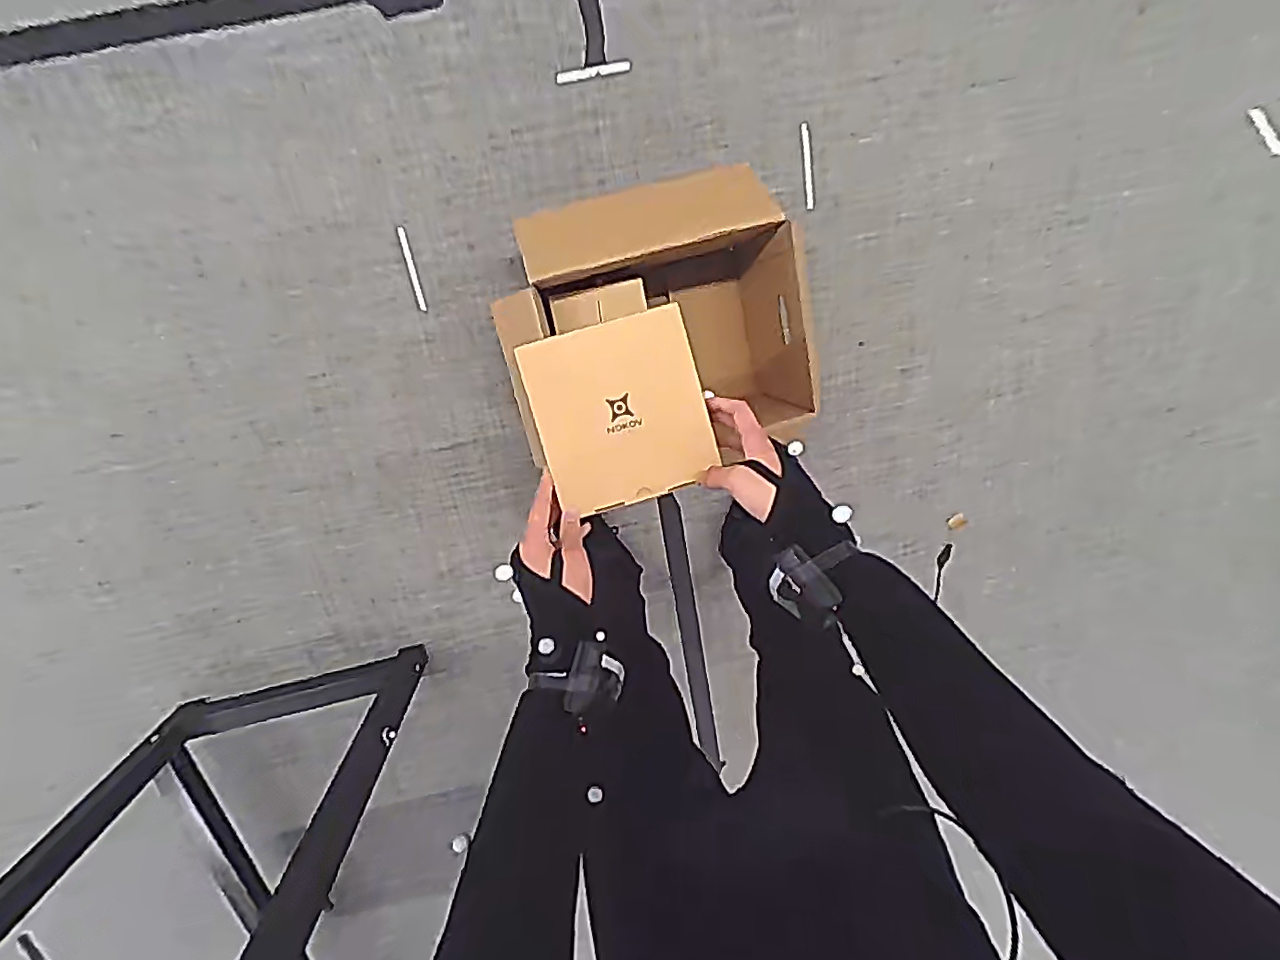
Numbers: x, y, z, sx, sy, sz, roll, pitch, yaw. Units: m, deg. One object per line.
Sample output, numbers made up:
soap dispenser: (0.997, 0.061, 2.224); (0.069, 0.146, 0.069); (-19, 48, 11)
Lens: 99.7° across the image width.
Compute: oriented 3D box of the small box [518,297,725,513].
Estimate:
small box: (-0.022, -0.075, 0.596); (0.168, 0.176, 0.179); (-16, 95, -2)
